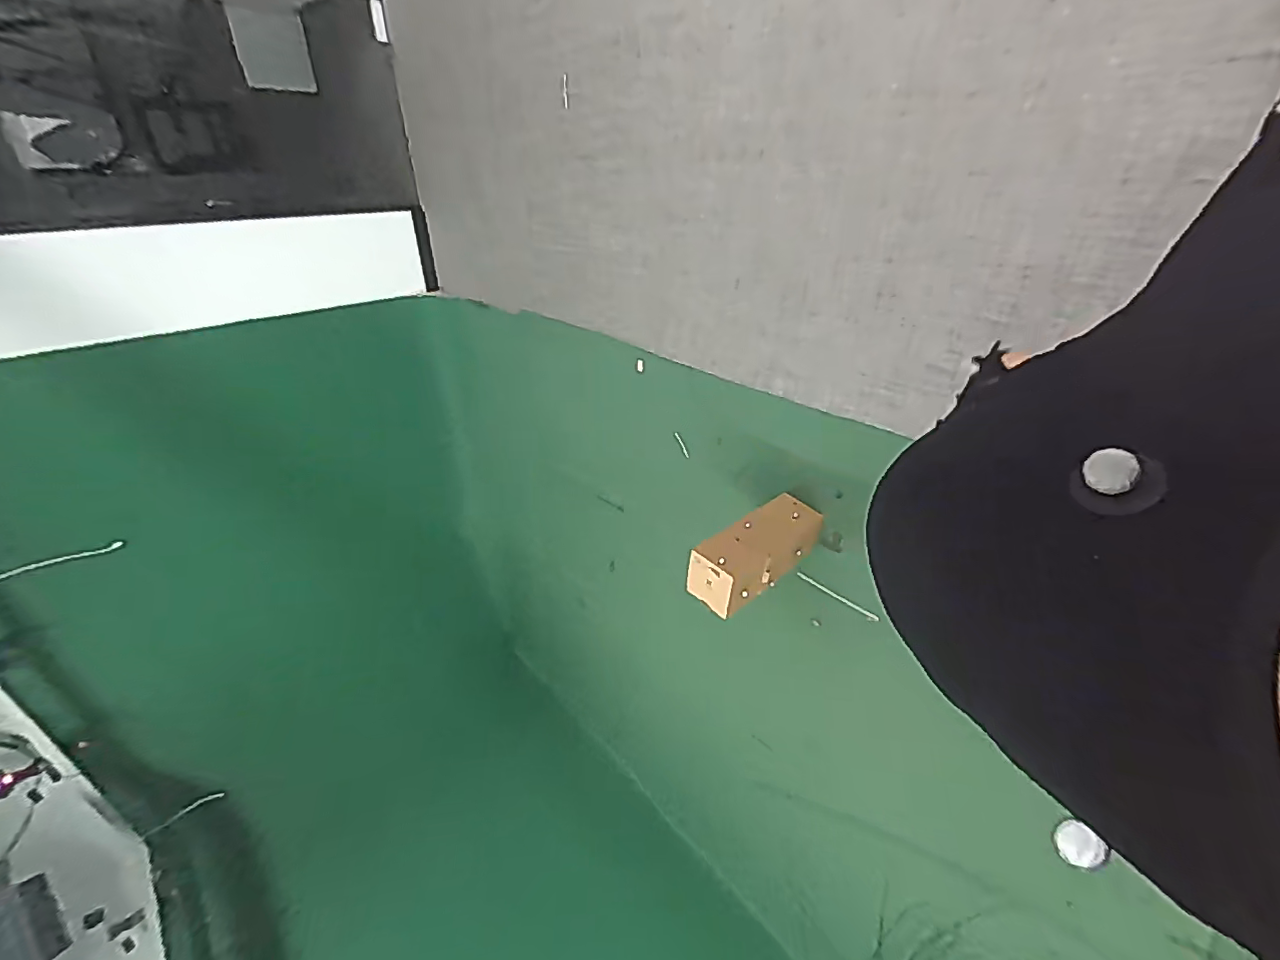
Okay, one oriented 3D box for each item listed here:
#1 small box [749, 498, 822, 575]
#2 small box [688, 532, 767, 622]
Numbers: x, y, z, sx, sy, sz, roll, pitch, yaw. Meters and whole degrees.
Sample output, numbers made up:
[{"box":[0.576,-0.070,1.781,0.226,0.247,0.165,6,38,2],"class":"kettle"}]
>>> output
[{"box":[0.504,0.188,1.868,0.168,0.176,0.179,36,135,33],"class":"small box"},{"box":[0.269,0.293,1.663,0.168,0.176,0.179,33,134,37],"class":"small box"}]
